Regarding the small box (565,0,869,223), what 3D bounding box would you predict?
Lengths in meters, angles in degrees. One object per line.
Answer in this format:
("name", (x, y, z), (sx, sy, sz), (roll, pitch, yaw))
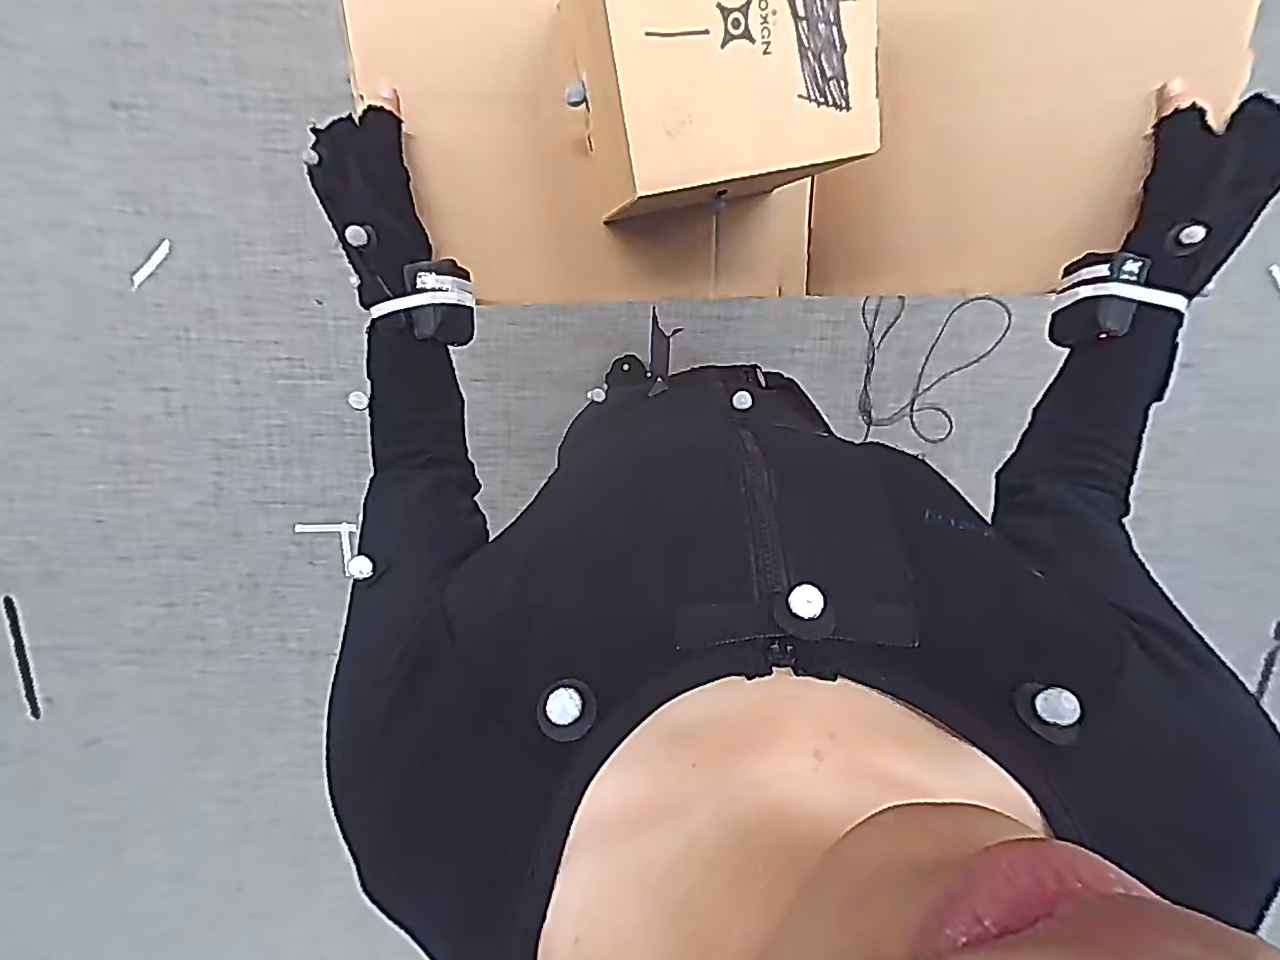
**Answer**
("small box", (0.049, -0.306, 0.415), (0.179, 0.176, 0.168), (-14, 112, -7))
